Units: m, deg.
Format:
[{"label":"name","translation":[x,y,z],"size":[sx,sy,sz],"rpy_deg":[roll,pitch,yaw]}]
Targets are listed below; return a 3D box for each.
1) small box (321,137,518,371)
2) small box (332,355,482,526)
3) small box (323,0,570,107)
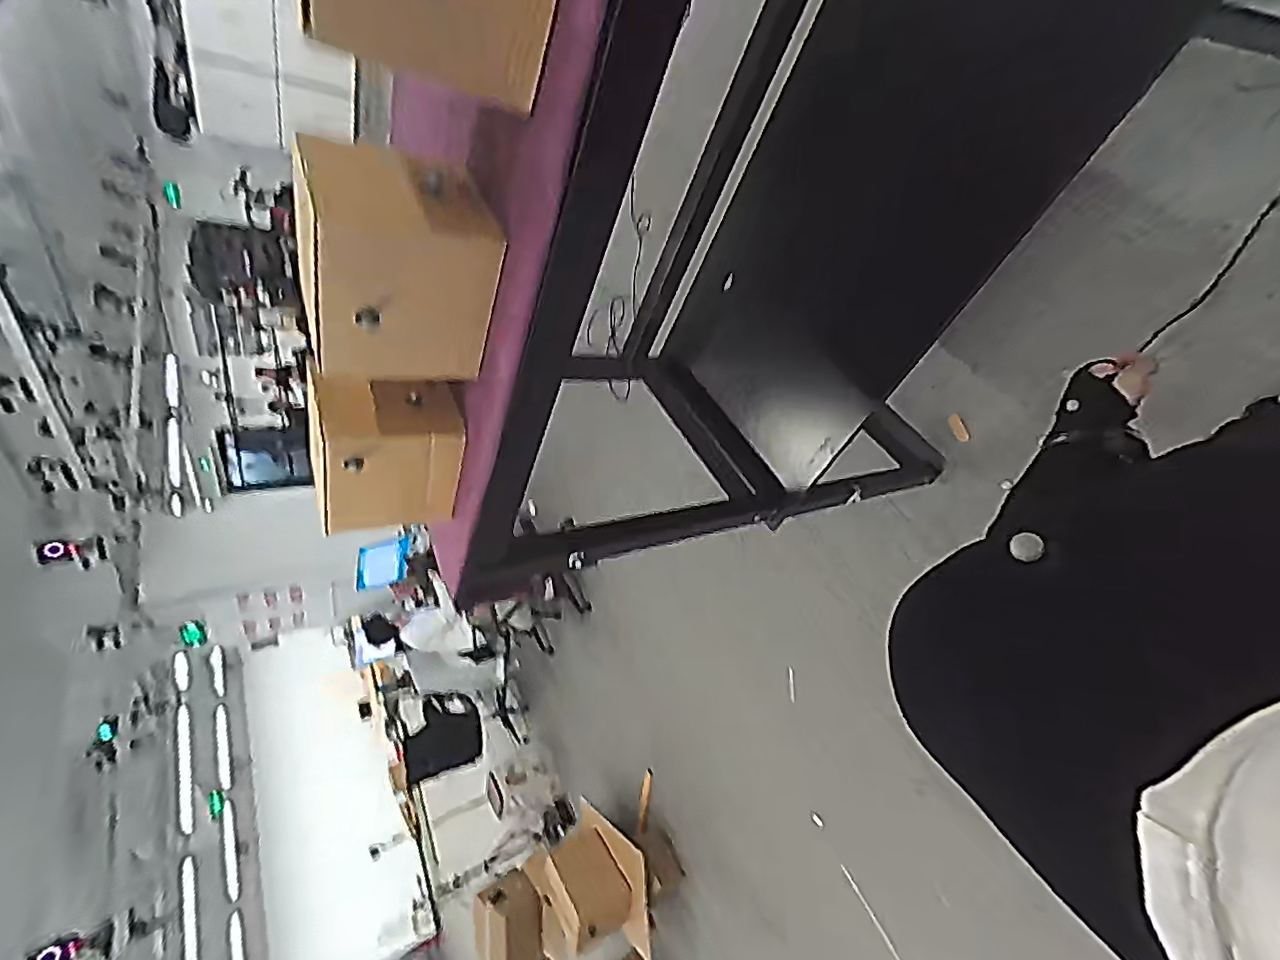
[{"label":"small box","translation":[-0.248,-0.238,0.604],"size":[0.168,0.176,0.179],"rpy_deg":[61,141,30]},{"label":"small box","translation":[-0.335,-0.058,0.775],"size":[0.168,0.176,0.179],"rpy_deg":[57,138,34]},{"label":"small box","translation":[-0.149,-0.429,0.418],"size":[0.168,0.176,0.179],"rpy_deg":[61,142,29]}]
